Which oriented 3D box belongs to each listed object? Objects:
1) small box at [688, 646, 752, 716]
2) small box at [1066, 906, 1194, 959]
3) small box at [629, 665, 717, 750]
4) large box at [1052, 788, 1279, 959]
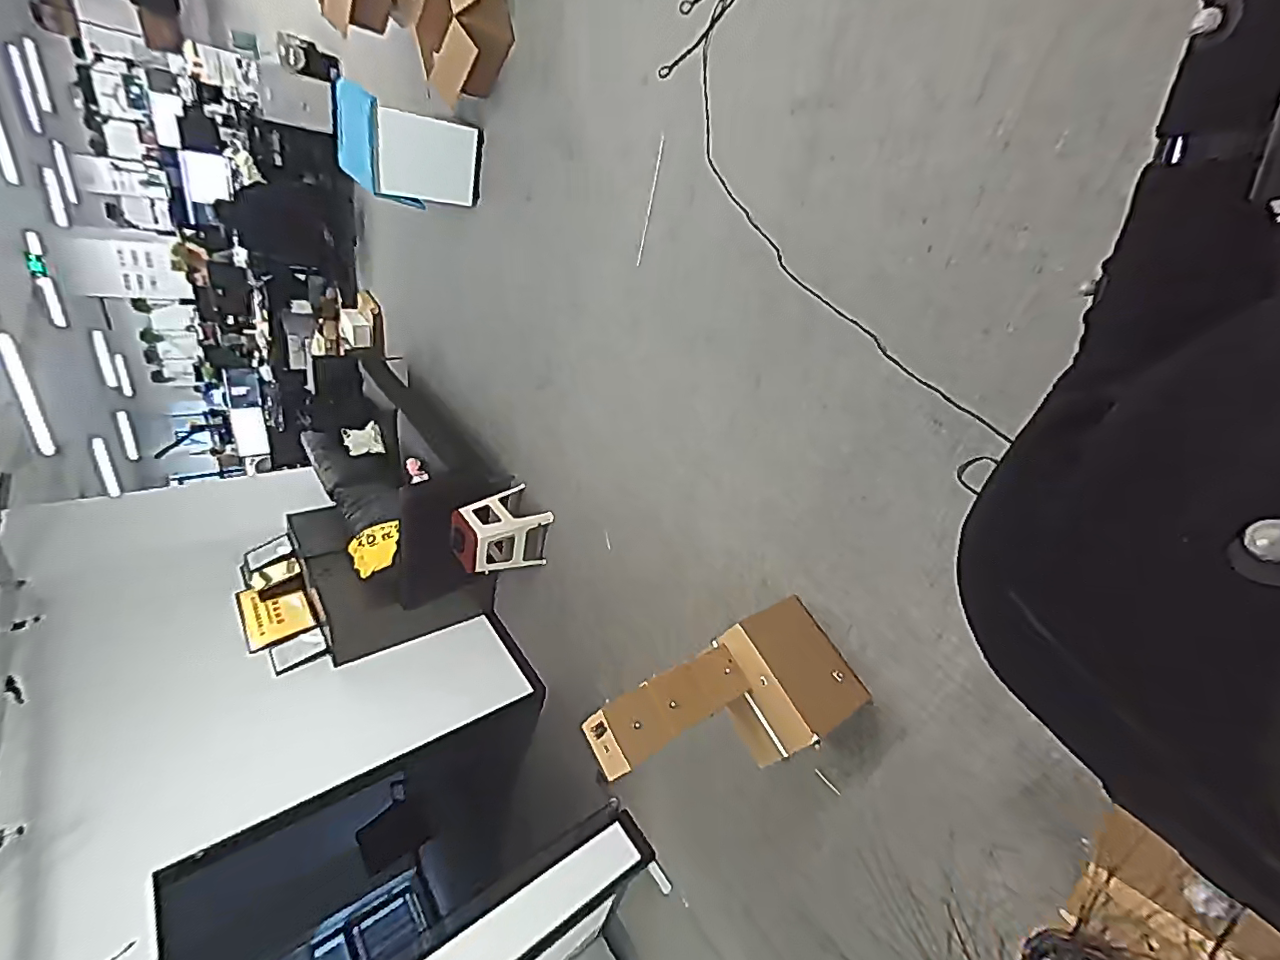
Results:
[{"bbox_3d":[0.232,0.670,1.762,0.168,0.176,0.179,57,139,24],"label":"small box"},{"bbox_3d":[0.909,0.939,0.993,0.179,0.176,0.168,31,123,43],"label":"small box"},{"bbox_3d":[0.102,0.693,1.668,0.179,0.176,0.168,58,139,23],"label":"small box"},{"bbox_3d":[1.149,0.940,1.091,0.408,0.320,0.320,25,120,44],"label":"large box"}]
